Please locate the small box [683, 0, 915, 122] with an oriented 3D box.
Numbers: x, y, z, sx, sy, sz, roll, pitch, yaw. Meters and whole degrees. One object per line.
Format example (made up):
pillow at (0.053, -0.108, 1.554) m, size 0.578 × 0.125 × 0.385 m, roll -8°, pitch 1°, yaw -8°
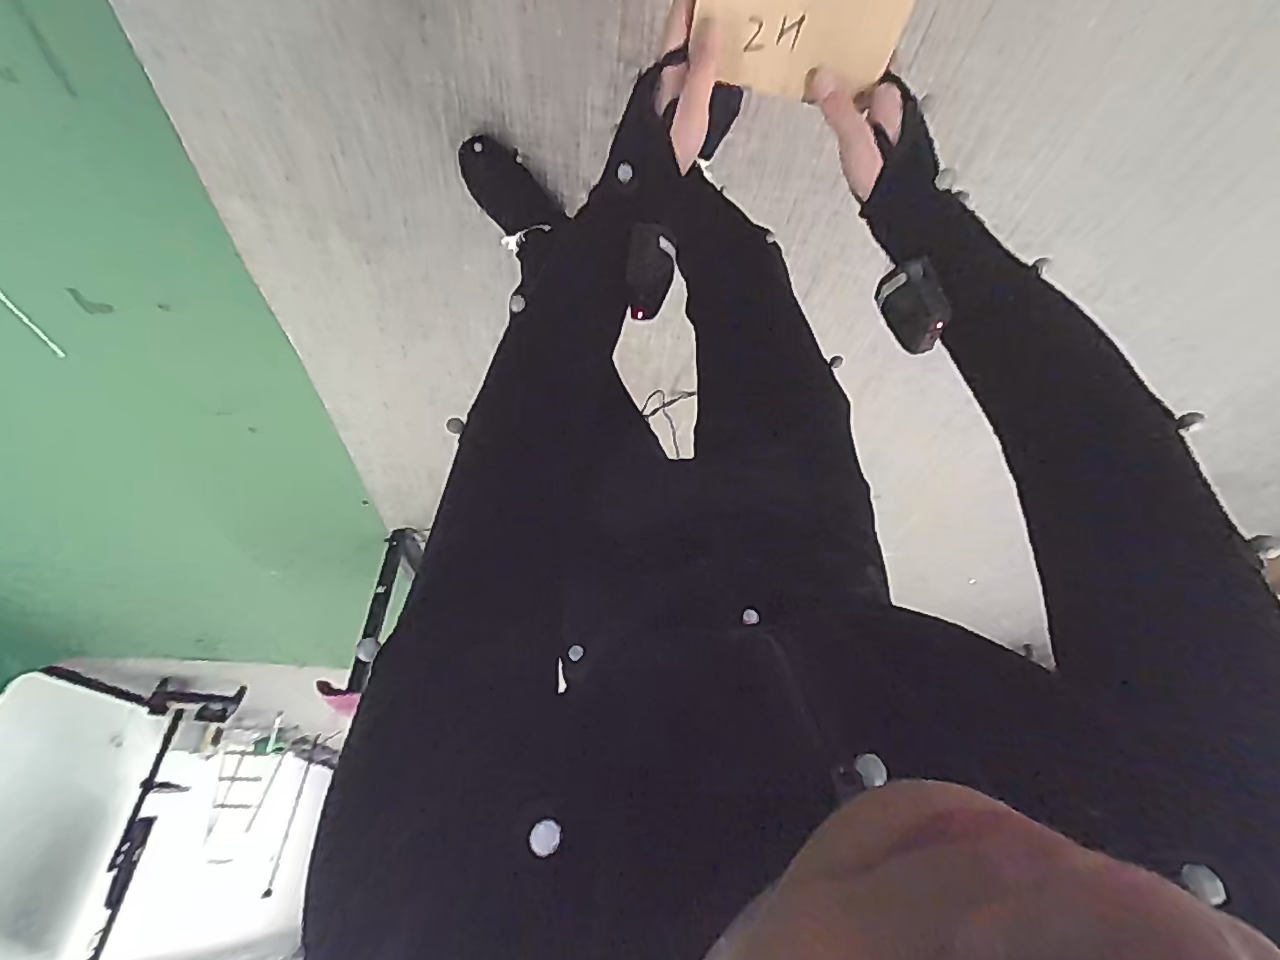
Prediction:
small box at (0.131, -0.440, 0.451) m, size 0.168 × 0.176 × 0.179 m, roll 8°, pitch 140°, yaw -6°
